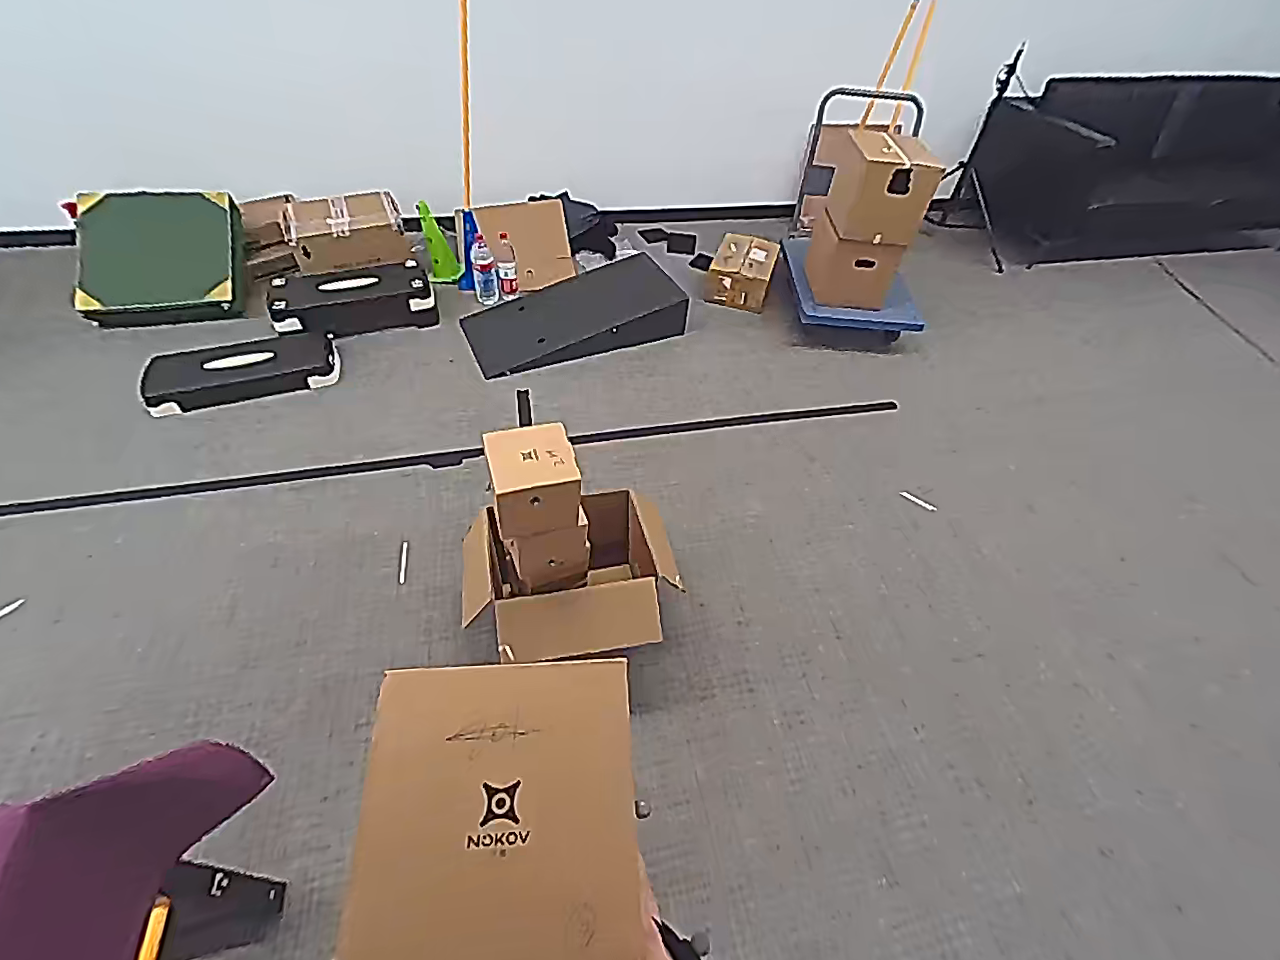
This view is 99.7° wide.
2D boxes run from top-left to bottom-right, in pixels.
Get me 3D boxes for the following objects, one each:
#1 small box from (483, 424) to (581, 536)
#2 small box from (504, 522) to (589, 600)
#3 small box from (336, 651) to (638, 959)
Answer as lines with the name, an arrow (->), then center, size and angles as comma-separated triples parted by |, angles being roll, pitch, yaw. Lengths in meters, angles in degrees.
small box -> -0.233, 0.004, 1.172 | 0.179, 0.176, 0.168 | -10, 54, -18
small box -> -0.251, 0.192, 1.443 | 0.179, 0.176, 0.168 | -22, 57, -26
small box -> -0.092, 0.238, 0.399 | 0.168, 0.176, 0.179 | 0, 57, -7
